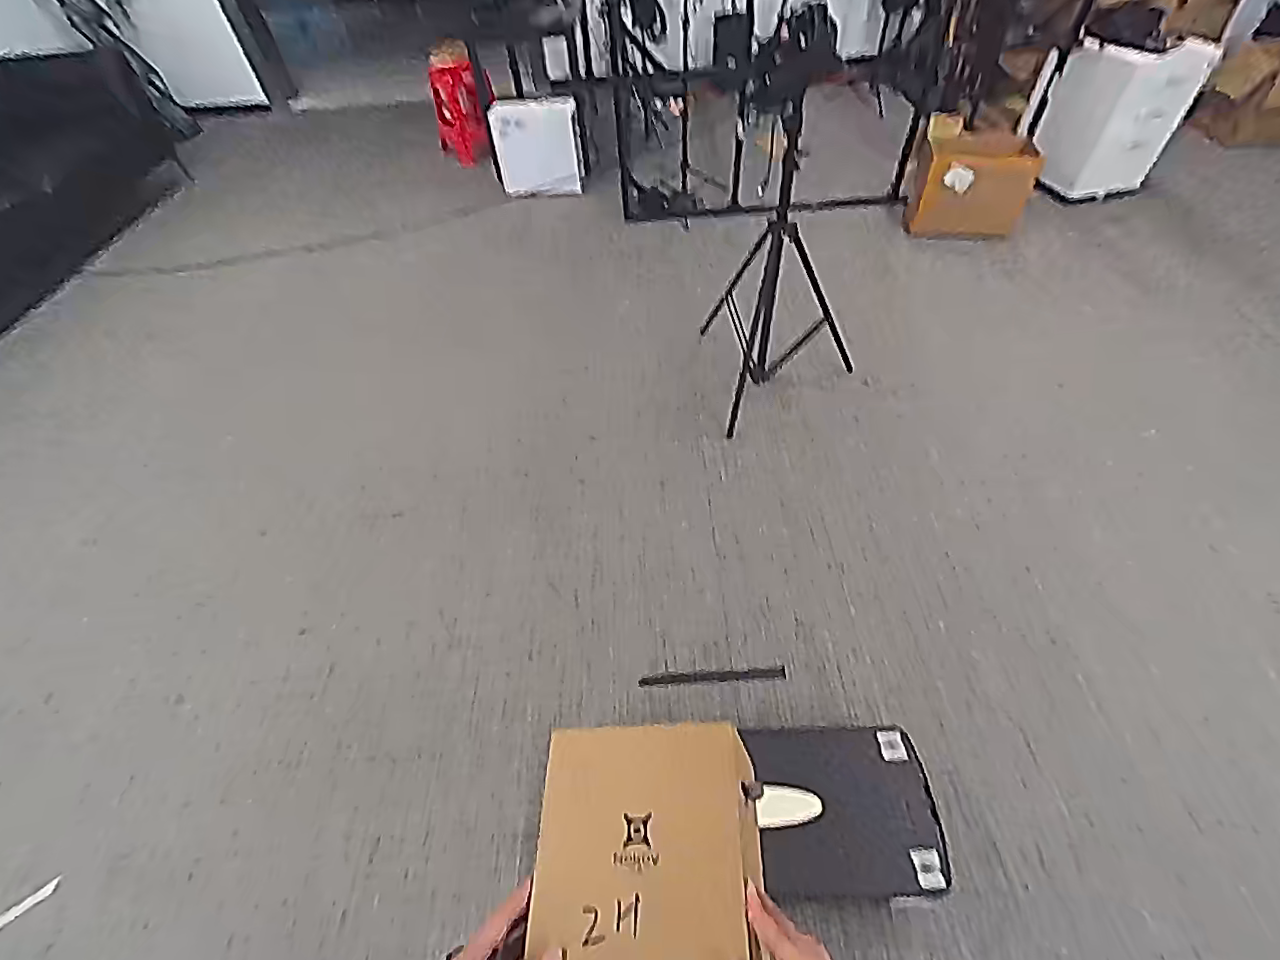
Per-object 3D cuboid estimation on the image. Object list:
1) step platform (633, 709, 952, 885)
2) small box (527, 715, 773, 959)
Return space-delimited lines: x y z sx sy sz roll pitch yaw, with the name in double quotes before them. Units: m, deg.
"step platform" 0.229 0.637 1.082 0.684 0.204 0.286 -4 50 2
"small box" 0.021 0.326 0.480 0.168 0.176 0.179 -9 50 13
